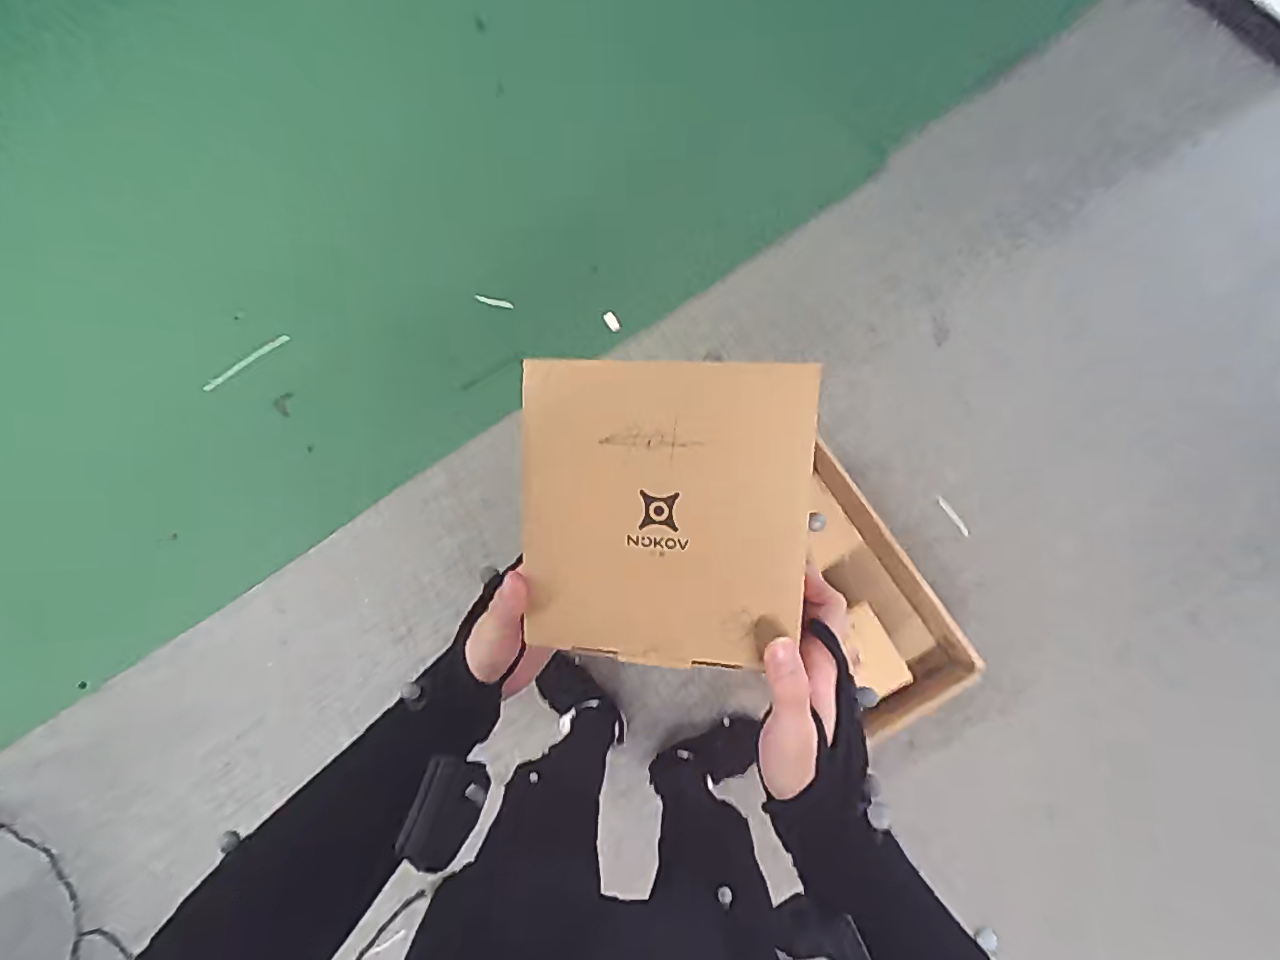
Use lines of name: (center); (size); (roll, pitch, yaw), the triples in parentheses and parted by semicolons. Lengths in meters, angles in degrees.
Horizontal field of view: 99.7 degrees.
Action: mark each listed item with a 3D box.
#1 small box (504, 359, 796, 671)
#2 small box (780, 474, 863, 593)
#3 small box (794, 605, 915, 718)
small box: (0.015, 0.009, 0.386); (0.168, 0.176, 0.179); (2, 98, 10)
small box: (0.312, 0.115, 1.095); (0.179, 0.176, 0.168); (-35, 77, 0)
small box: (0.458, 0.387, 1.185); (0.168, 0.176, 0.179); (-29, 76, 2)
